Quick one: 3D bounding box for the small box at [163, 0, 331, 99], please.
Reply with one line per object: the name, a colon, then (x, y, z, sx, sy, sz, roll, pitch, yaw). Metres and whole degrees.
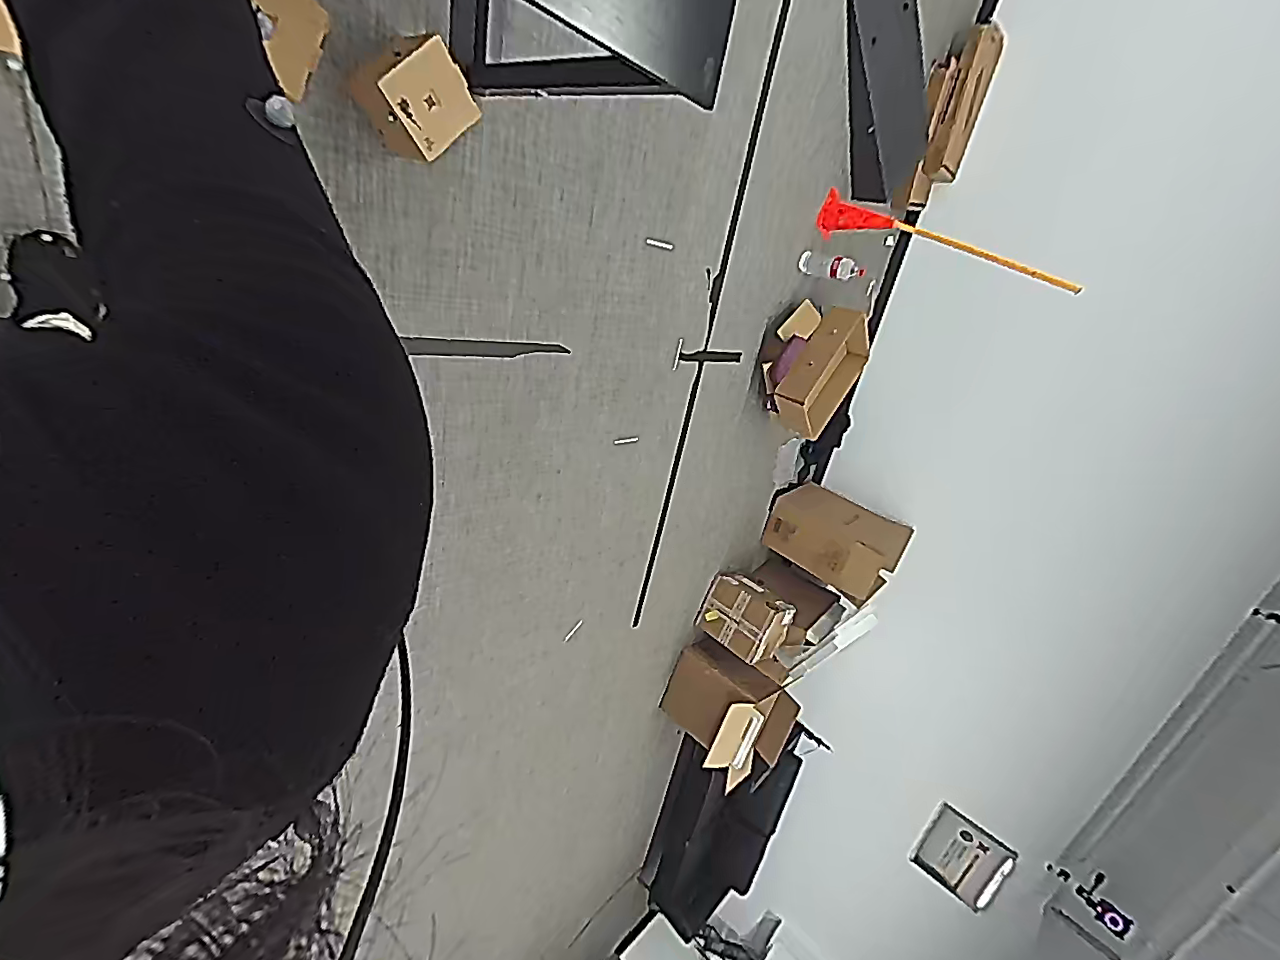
small box: (-0.693, -0.815, 0.954, 0.179, 0.176, 0.168, 18, 99, -54)

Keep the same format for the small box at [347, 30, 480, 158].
small box: (-0.495, -0.843, 1.183, 0.179, 0.176, 0.168, -51, 144, -13)
